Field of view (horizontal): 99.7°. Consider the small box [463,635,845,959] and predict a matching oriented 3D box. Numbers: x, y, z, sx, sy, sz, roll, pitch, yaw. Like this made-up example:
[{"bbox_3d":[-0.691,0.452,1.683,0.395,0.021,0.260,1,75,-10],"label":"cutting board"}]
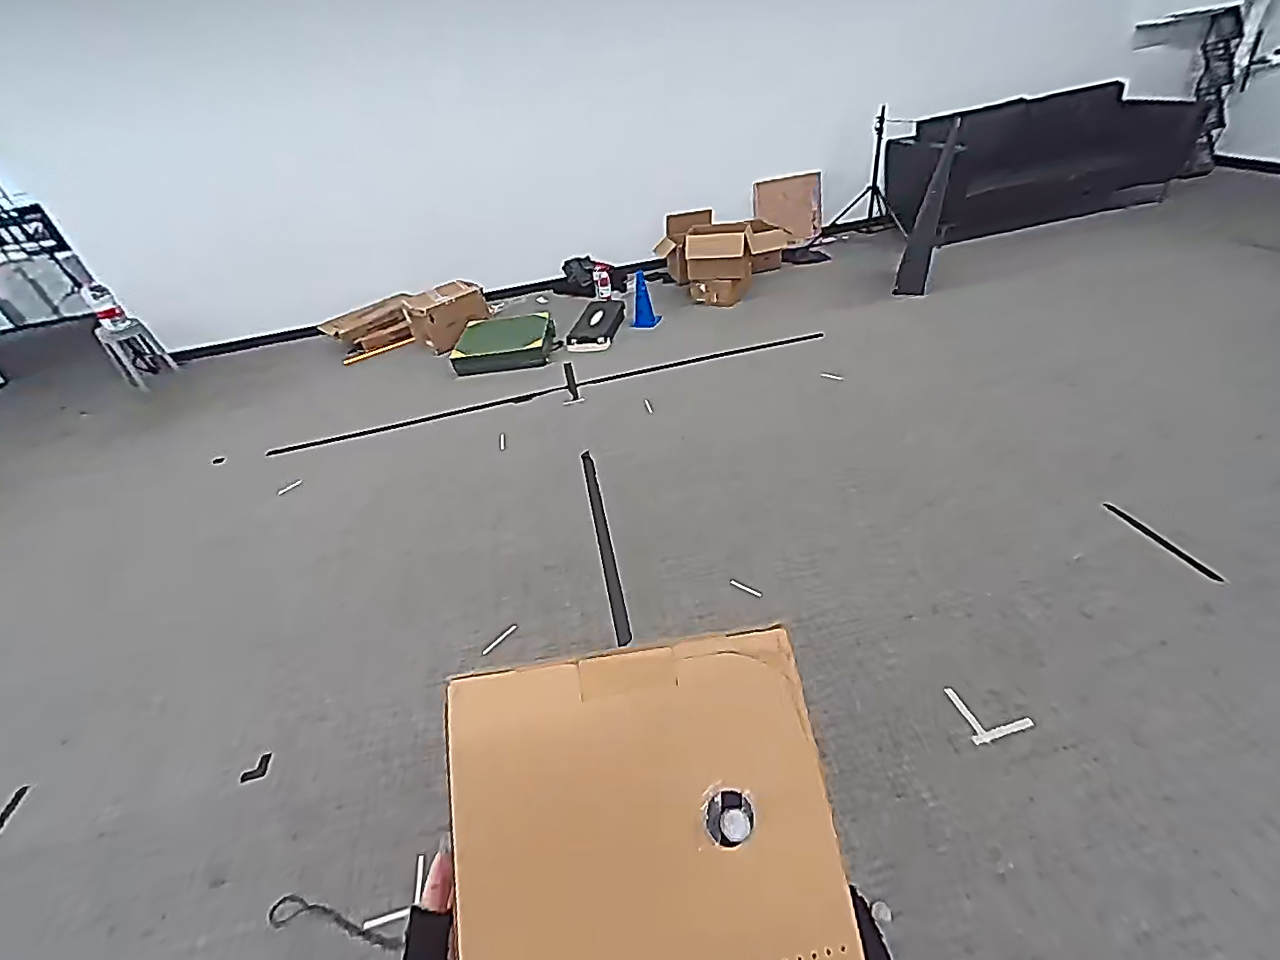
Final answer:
[{"bbox_3d":[0.000,0.196,0.328,0.168,0.179,0.176,-7,73,-7],"label":"small box"}]
